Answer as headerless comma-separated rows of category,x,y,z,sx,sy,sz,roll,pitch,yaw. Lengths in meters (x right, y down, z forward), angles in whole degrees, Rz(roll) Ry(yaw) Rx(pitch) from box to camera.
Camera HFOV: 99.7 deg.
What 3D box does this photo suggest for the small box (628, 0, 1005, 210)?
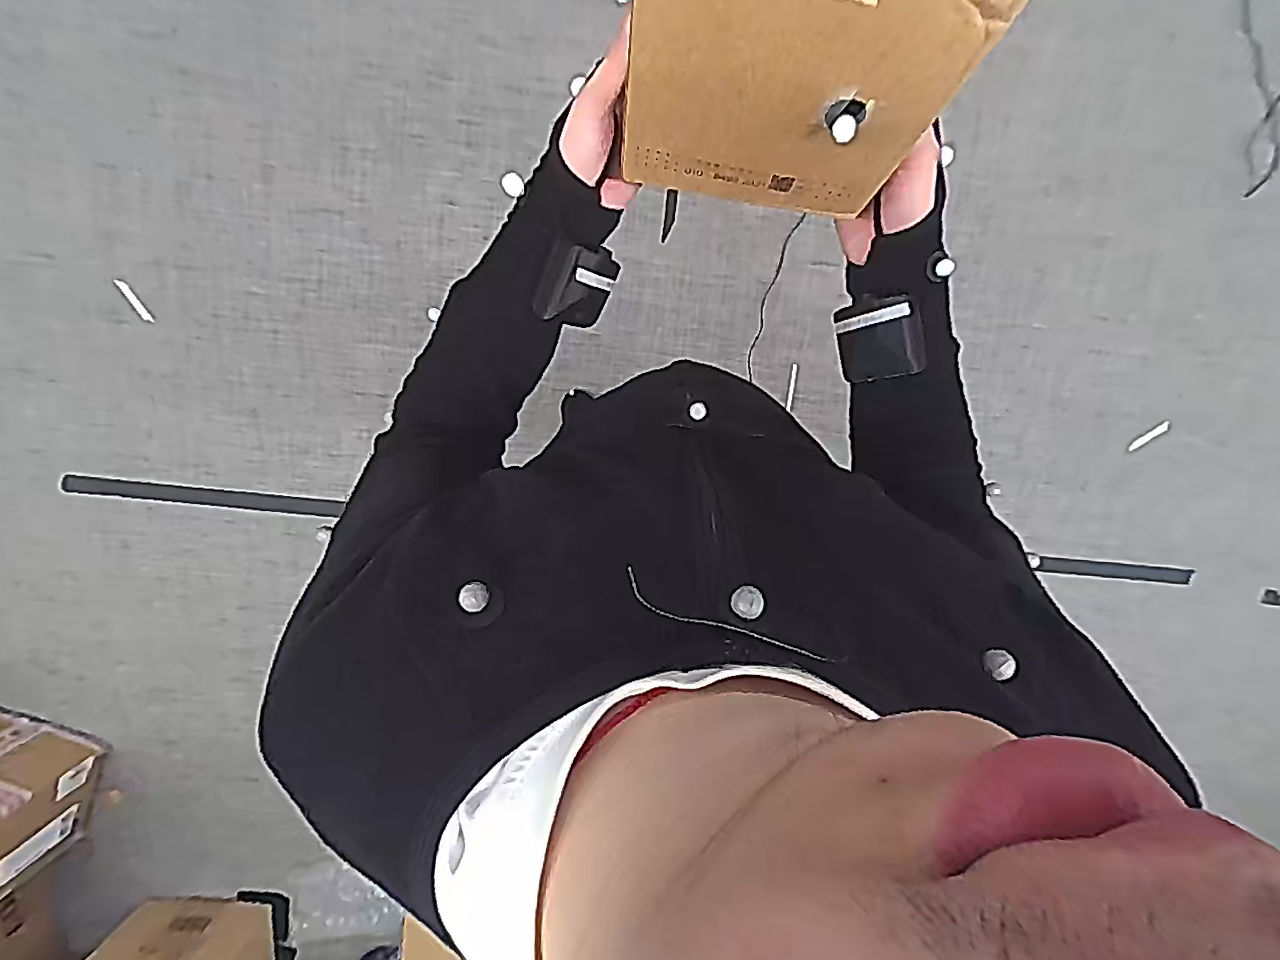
small box,0.087,-0.292,0.312,0.168,0.176,0.179,9,82,-5
